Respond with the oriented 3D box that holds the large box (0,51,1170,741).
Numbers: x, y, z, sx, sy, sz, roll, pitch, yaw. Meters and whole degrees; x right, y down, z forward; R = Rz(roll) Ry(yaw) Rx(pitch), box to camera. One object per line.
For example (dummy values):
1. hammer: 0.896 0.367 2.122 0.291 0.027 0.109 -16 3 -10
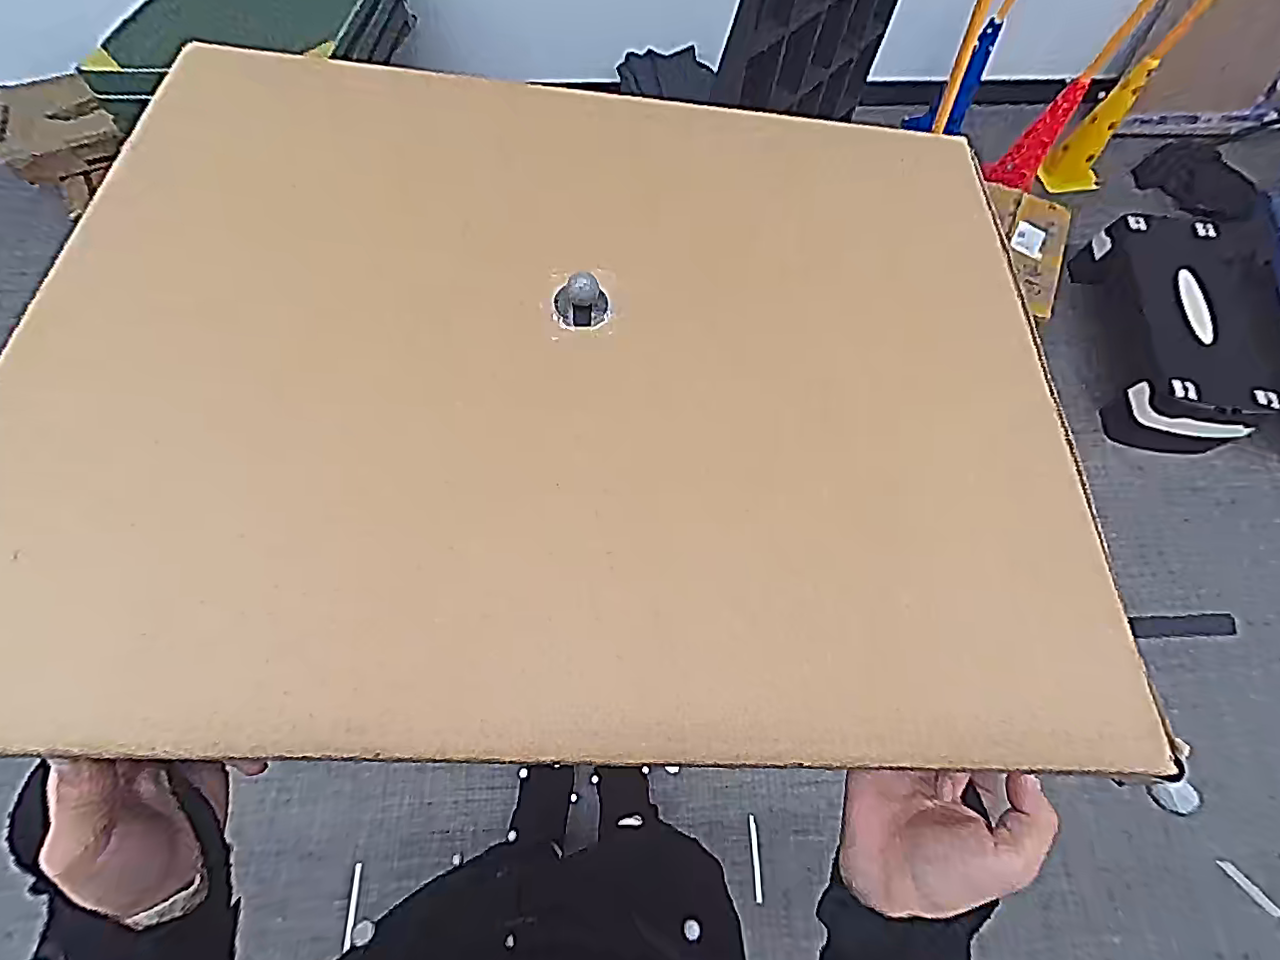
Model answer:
1. large box: -0.038 -0.011 0.355 0.408 0.320 0.320 3 68 -4
